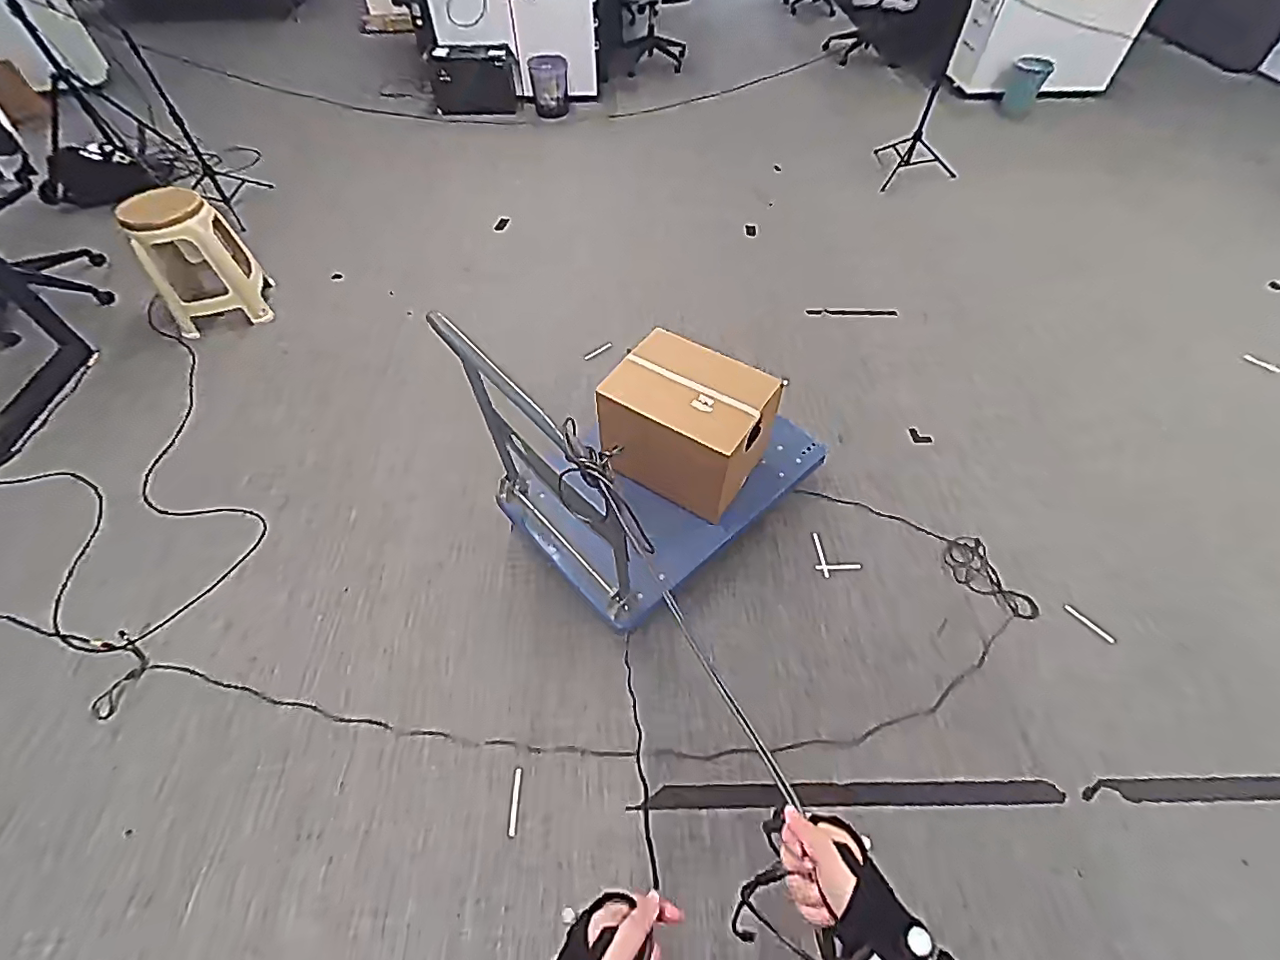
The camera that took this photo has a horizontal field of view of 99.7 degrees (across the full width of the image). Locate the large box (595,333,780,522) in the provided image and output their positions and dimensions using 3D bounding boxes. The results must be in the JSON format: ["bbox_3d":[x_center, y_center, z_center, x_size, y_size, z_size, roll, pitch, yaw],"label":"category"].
[{"bbox_3d":[0.122,-0.150,1.538,0.408,0.320,0.320,28,59,18],"label":"large box"}]
